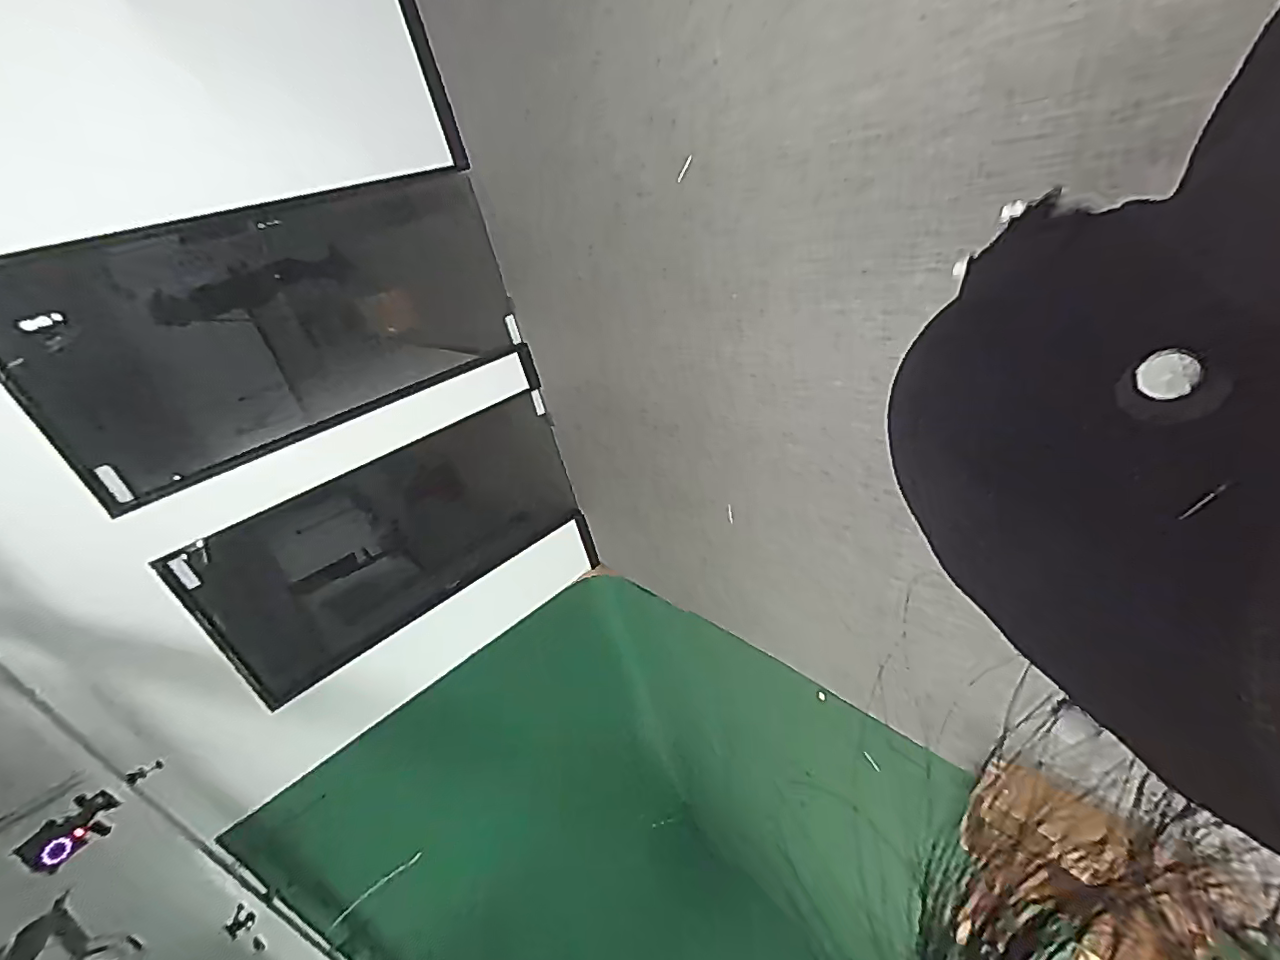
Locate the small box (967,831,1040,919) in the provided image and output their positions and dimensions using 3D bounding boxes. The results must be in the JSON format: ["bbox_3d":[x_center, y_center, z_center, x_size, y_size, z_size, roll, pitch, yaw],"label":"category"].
[{"bbox_3d":[1.213,1.341,1.819,0.168,0.176,0.179,24,133,43],"label":"small box"}]

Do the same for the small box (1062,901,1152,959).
[{"bbox_3d":[1.400,1.437,1.625,0.168,0.176,0.179,17,128,50],"label":"small box"}]

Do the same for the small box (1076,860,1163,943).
[{"bbox_3d":[1.521,1.374,1.718,0.168,0.176,0.179,20,131,49],"label":"small box"}]

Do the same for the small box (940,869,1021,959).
[{"bbox_3d":[1.092,1.413,1.735,0.168,0.176,0.179,21,133,45],"label":"small box"}]
